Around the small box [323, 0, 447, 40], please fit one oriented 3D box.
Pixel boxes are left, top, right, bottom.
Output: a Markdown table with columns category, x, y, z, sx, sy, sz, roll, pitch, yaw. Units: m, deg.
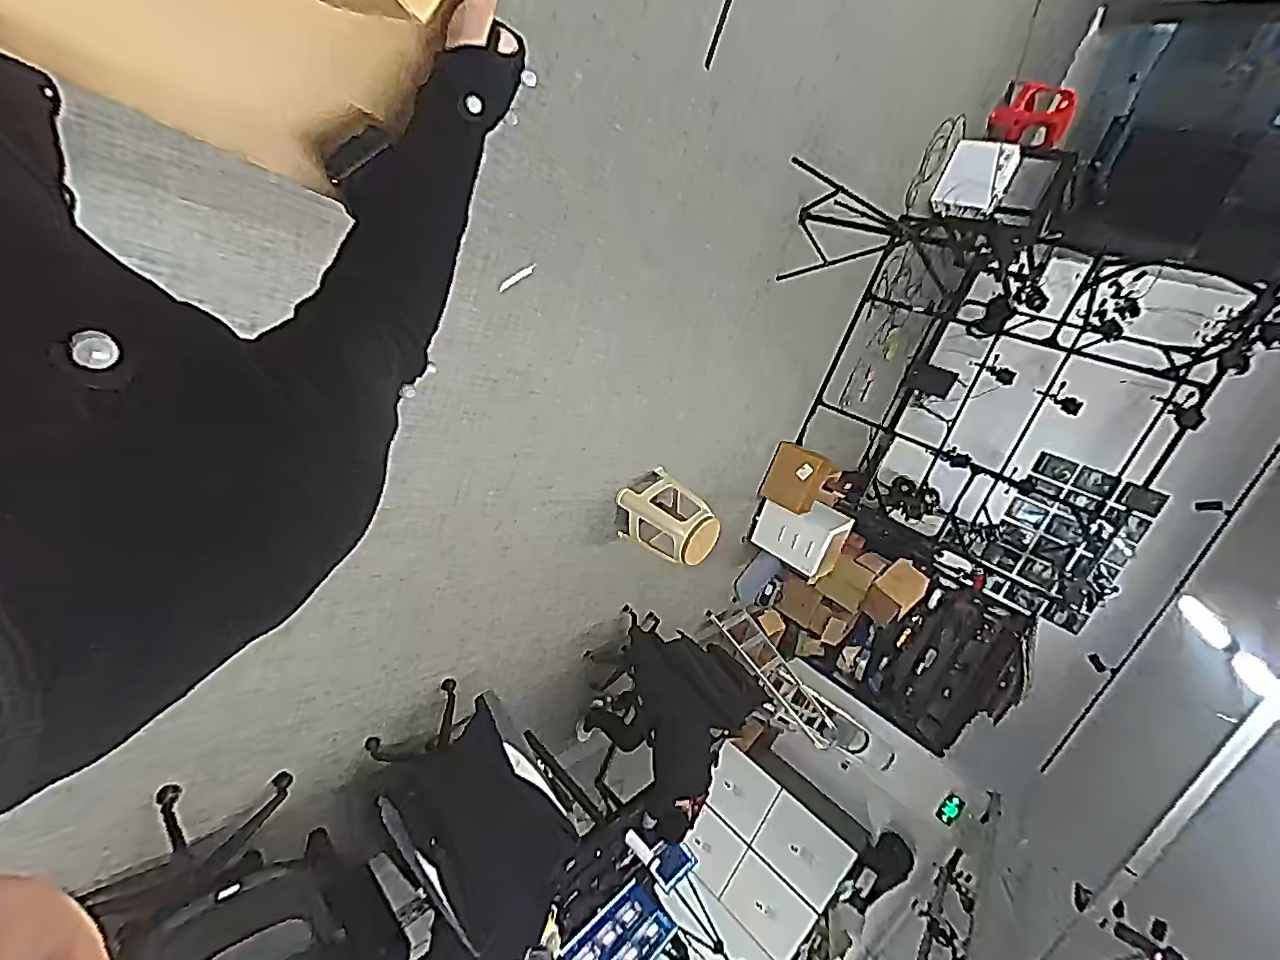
| category | x | y | z | sx | sy | sz | roll | pitch | yaw |
| --- | --- | --- | --- | --- | --- | --- | --- | --- | --- |
| small box | -0.185 | -0.405 | 0.304 | 0.168 | 0.176 | 0.179 | -54 | 146 | 7 |
